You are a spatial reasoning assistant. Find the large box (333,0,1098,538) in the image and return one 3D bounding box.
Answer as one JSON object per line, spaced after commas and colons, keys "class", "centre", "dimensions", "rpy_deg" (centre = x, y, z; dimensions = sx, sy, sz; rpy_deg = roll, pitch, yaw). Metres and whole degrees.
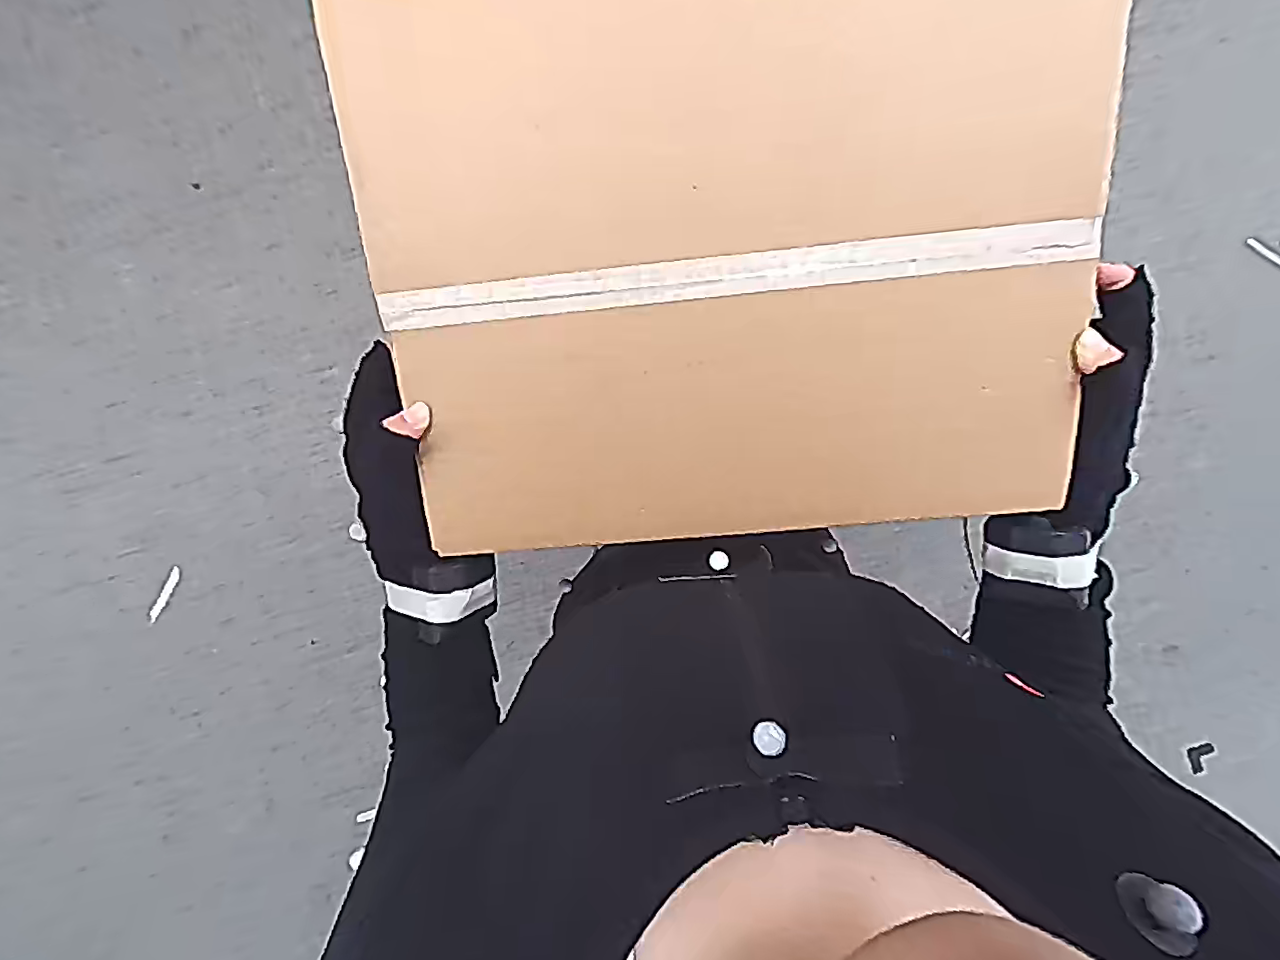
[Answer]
{"class": "large box", "centre": [0.049, -0.166, 0.459], "dimensions": [0.408, 0.320, 0.320], "rpy_deg": [-5, 107, 2]}
